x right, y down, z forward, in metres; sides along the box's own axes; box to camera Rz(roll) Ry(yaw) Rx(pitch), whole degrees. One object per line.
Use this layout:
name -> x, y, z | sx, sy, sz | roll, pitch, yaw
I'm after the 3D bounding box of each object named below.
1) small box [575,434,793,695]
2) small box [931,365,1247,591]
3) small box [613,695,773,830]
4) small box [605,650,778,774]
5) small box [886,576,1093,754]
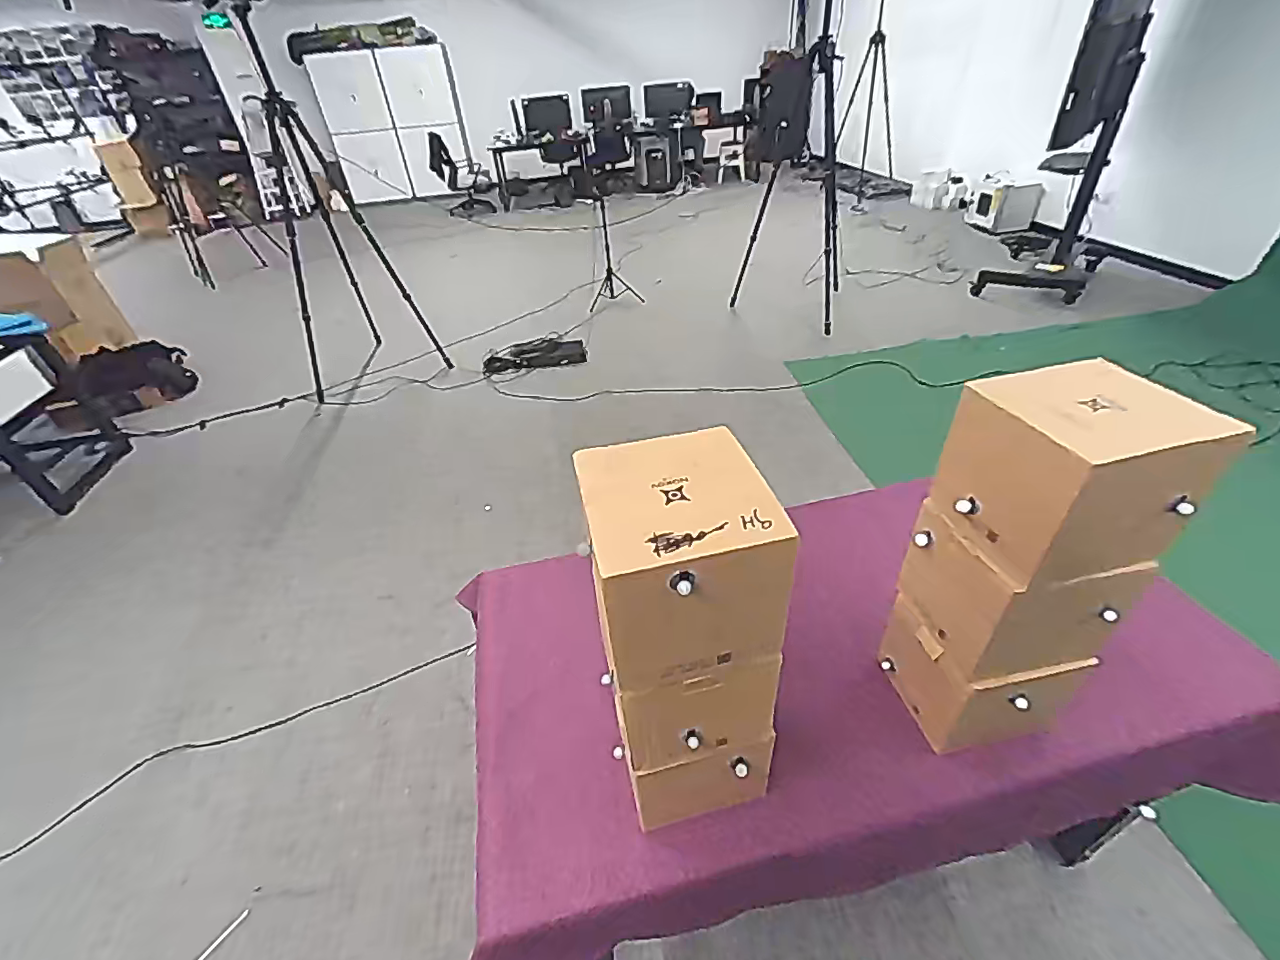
small box -> 0.034, 0.079, 0.539 | 0.168, 0.176, 0.179 | -11, 38, -7
small box -> 0.460, -0.004, 0.592 | 0.179, 0.176, 0.168 | -11, 37, -7
small box -> 0.062, 0.339, 0.736 | 0.179, 0.176, 0.168 | -12, 37, -7
small box -> 0.045, 0.208, 0.641 | 0.168, 0.176, 0.179 | -11, 39, -8
small box -> 0.477, 0.266, 0.777 | 0.179, 0.176, 0.168 | -9, 38, -6
